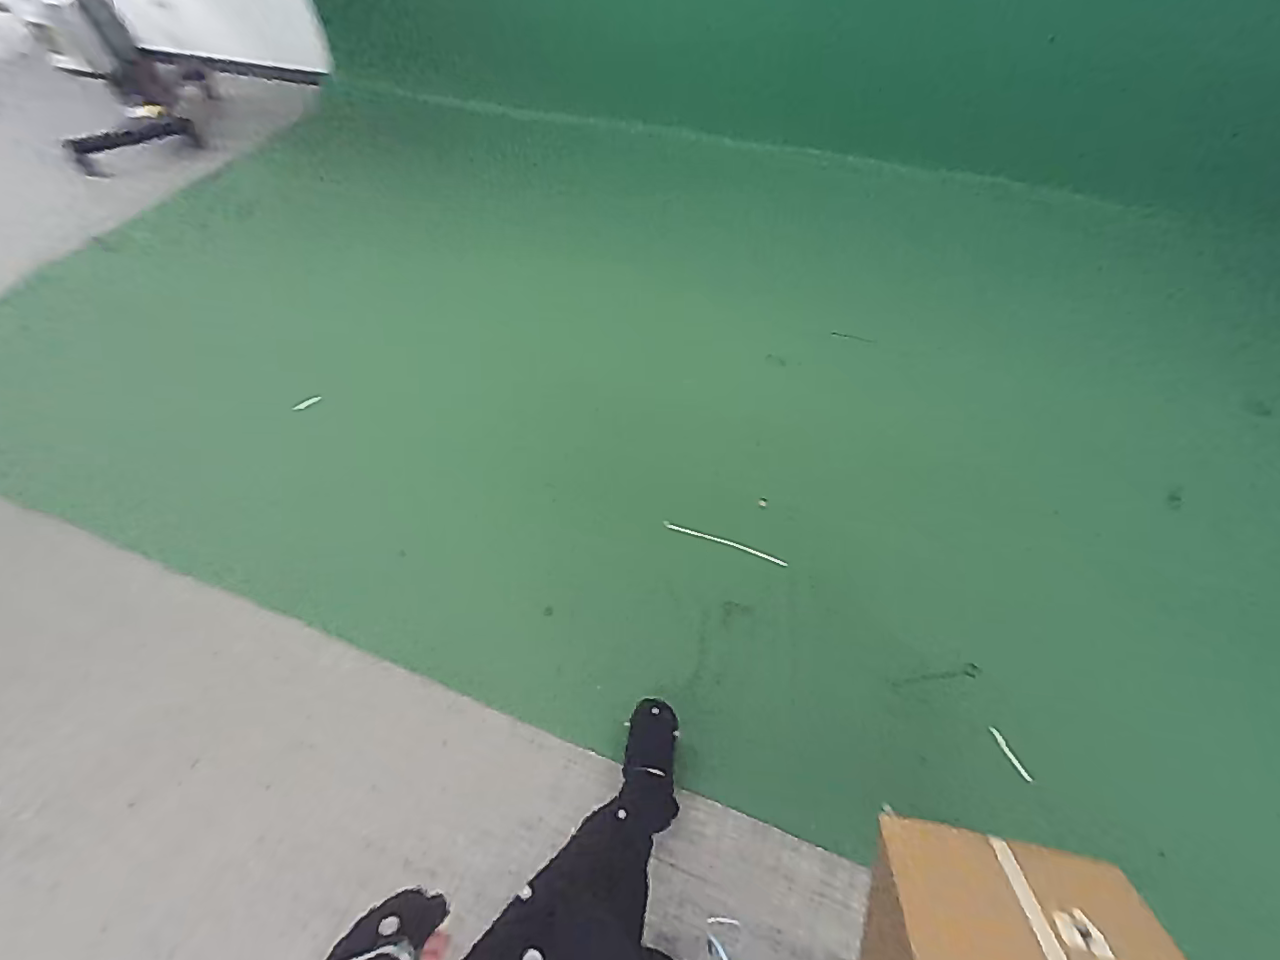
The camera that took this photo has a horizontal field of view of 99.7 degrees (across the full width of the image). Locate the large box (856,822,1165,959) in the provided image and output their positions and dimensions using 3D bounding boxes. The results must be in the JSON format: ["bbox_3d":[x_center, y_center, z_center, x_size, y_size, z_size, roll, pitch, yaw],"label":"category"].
[{"bbox_3d":[0.451,0.711,0.628,0.320,0.408,0.320,7,98,13],"label":"large box"}]
